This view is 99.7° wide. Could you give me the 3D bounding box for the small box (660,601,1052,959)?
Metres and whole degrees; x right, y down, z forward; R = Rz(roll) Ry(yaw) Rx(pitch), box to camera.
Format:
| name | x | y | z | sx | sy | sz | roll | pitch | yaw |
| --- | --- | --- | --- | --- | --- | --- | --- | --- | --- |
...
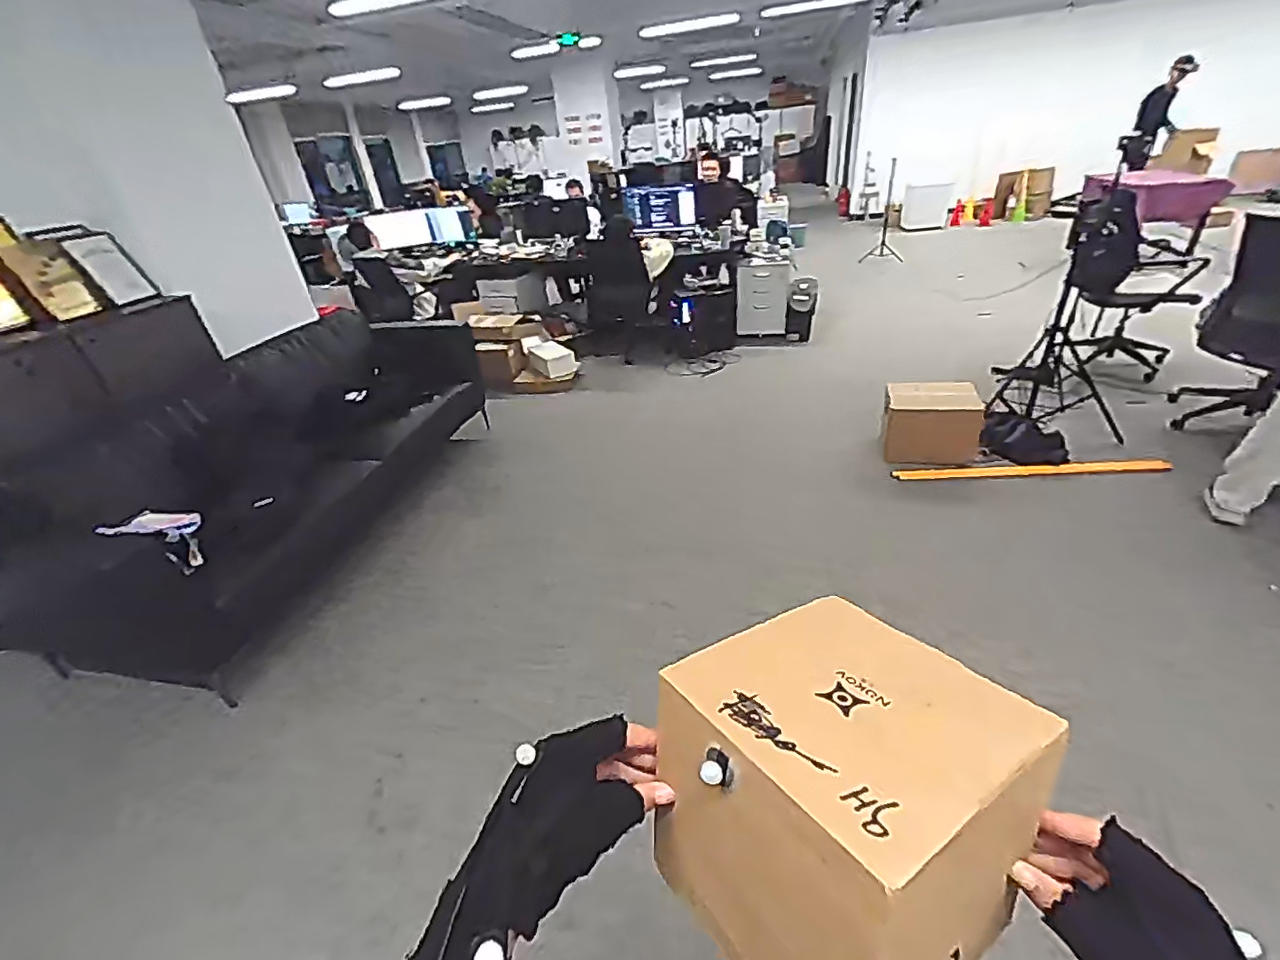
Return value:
| name | x | y | z | sx | sy | sz | roll | pitch | yaw |
| --- | --- | --- | --- | --- | --- | --- | --- | --- | --- |
| small box | 0.126 | 0.210 | 0.360 | 0.179 | 0.176 | 0.168 | -10 | 20 | -32 |
